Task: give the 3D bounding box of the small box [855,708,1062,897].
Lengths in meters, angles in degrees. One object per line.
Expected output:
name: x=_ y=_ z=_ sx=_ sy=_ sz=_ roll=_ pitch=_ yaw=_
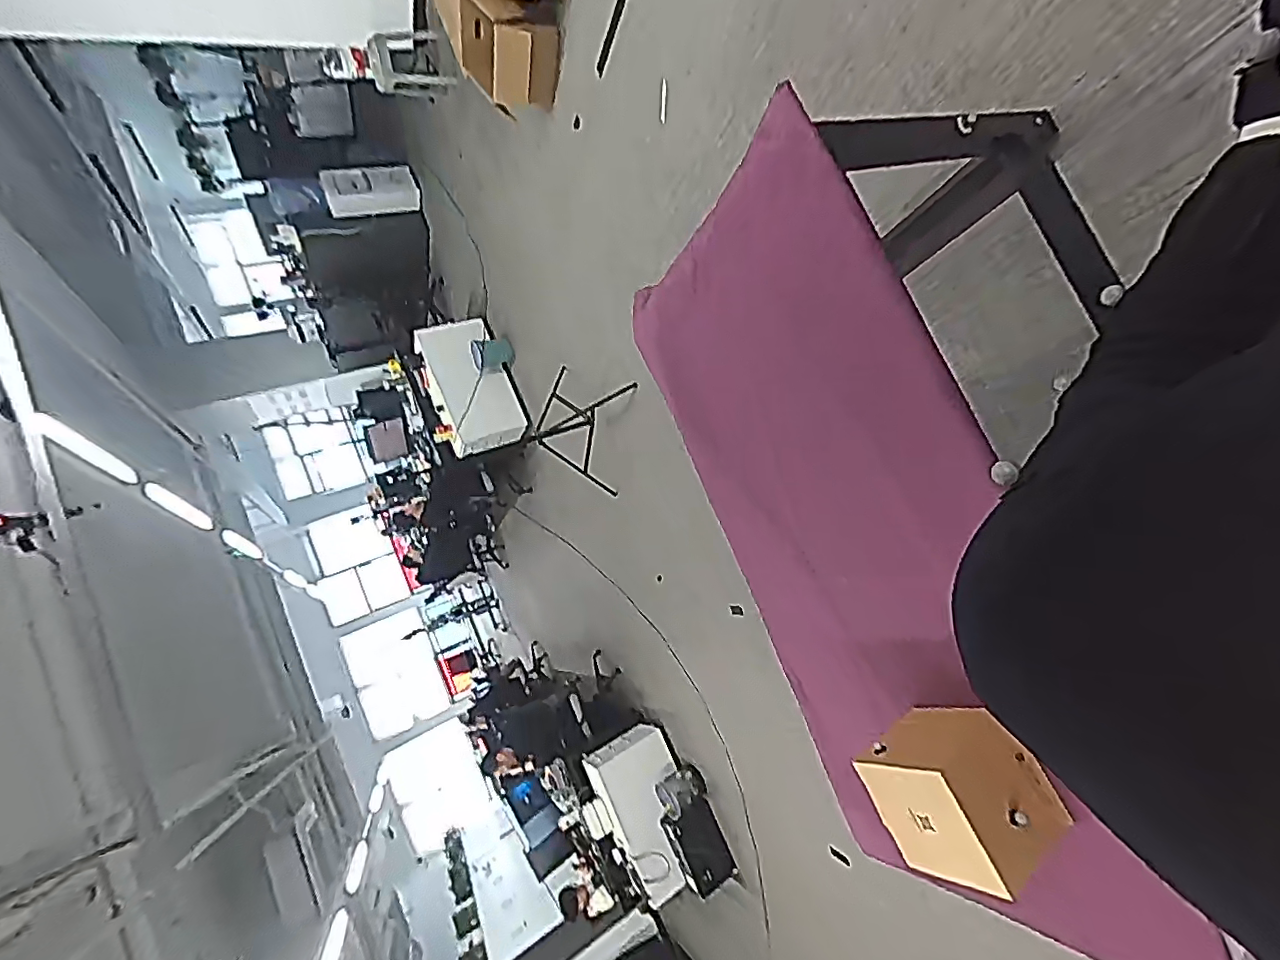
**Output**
small box: x=0.465 y=0.449 z=0.788 sx=0.168 sy=0.176 sz=0.179 roll=63 pitch=154 yaw=13
